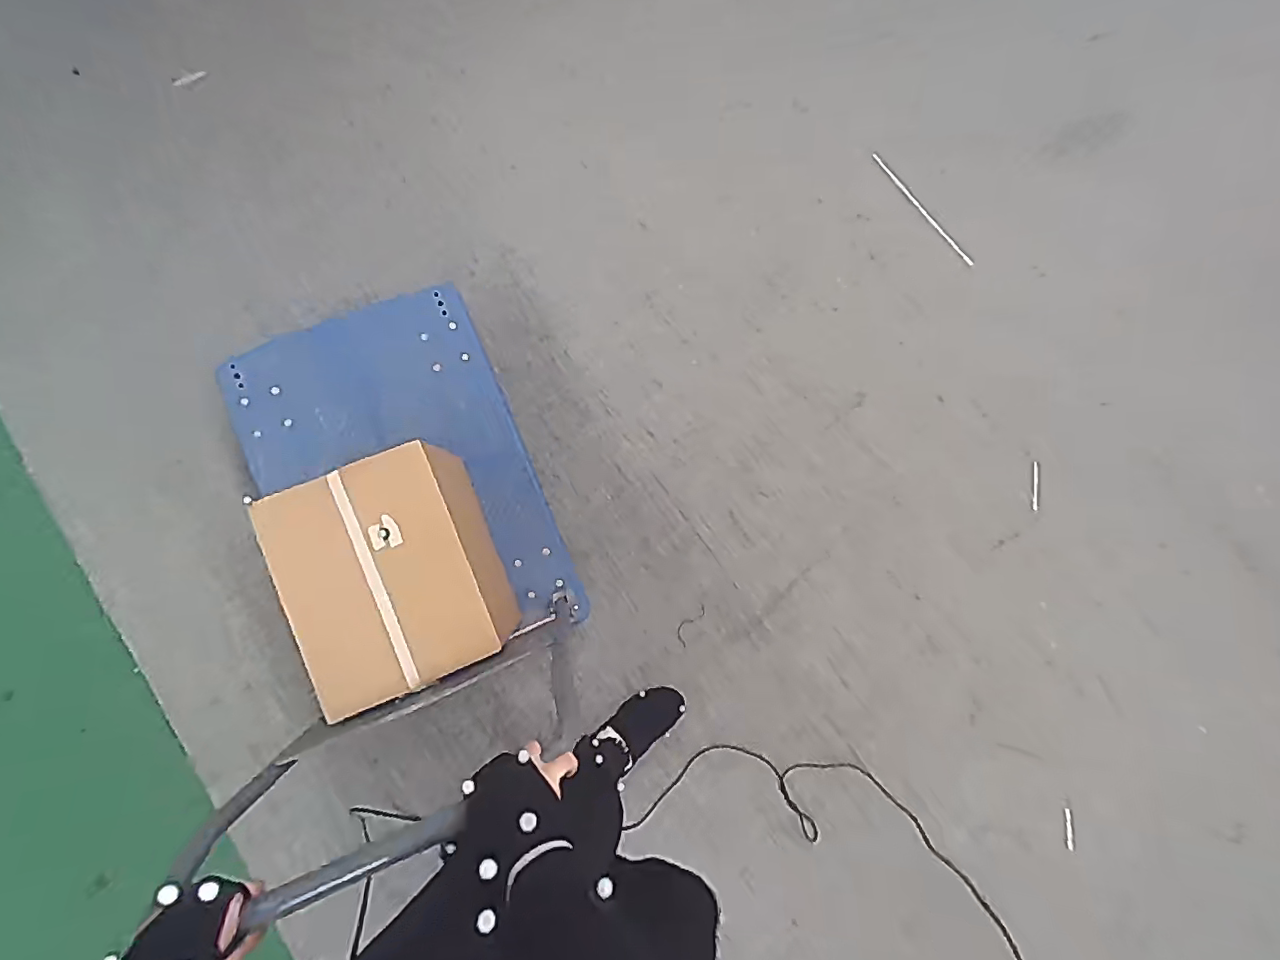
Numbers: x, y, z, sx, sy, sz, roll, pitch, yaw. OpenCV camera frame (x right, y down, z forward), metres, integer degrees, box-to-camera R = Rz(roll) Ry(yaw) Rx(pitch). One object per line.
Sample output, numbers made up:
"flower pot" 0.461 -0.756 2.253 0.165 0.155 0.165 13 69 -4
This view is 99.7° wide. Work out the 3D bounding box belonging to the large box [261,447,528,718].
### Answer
"large box" -0.463 0.191 1.107 0.320 0.320 0.408 -23 87 -7
